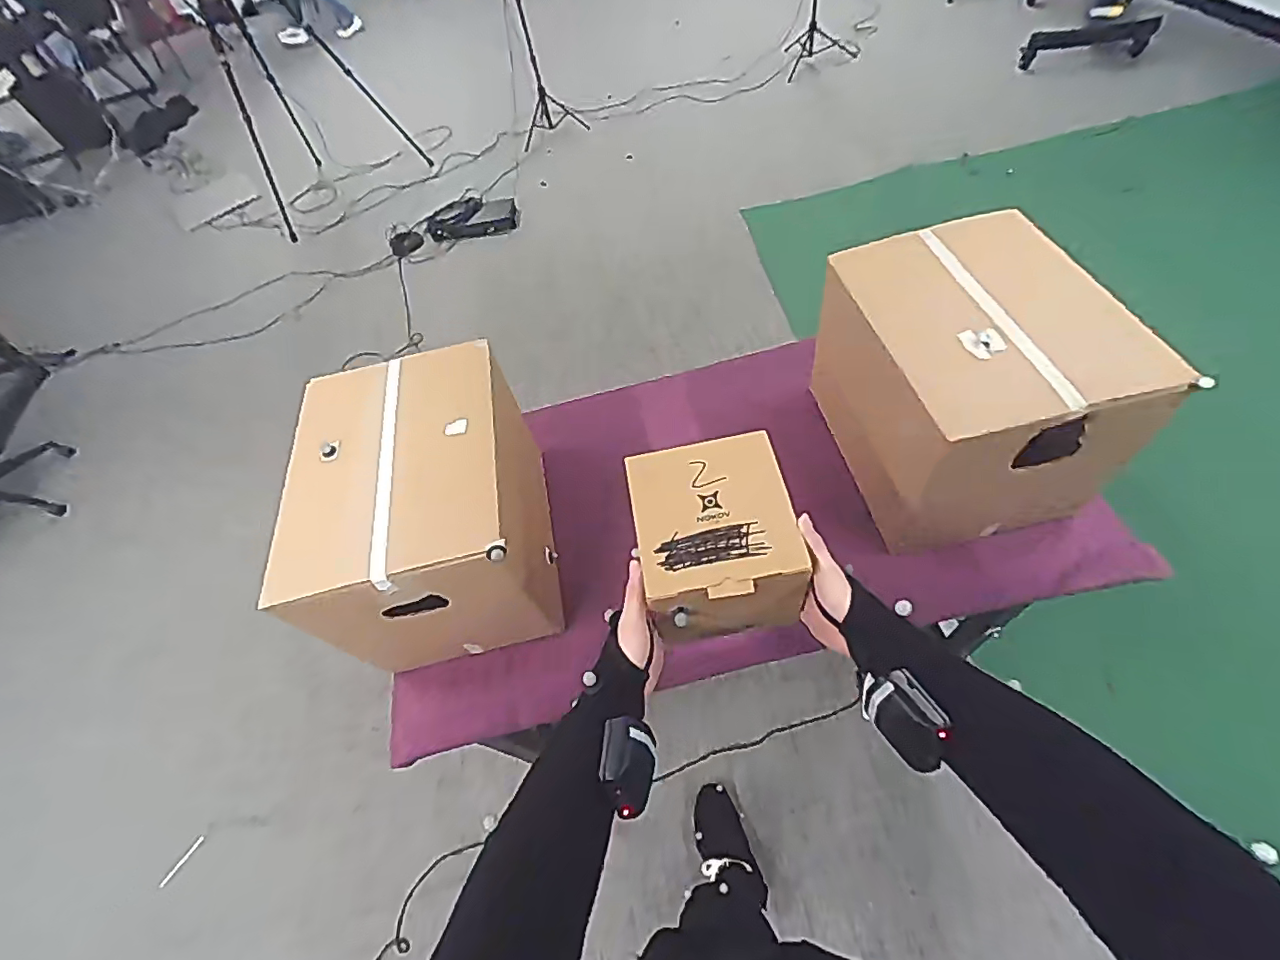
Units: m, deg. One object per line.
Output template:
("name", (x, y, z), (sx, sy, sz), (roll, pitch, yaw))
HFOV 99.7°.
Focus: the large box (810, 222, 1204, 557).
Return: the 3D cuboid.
("large box", (0.511, -0.143, 0.881), (0.320, 0.320, 0.408), (-14, 55, 2))
